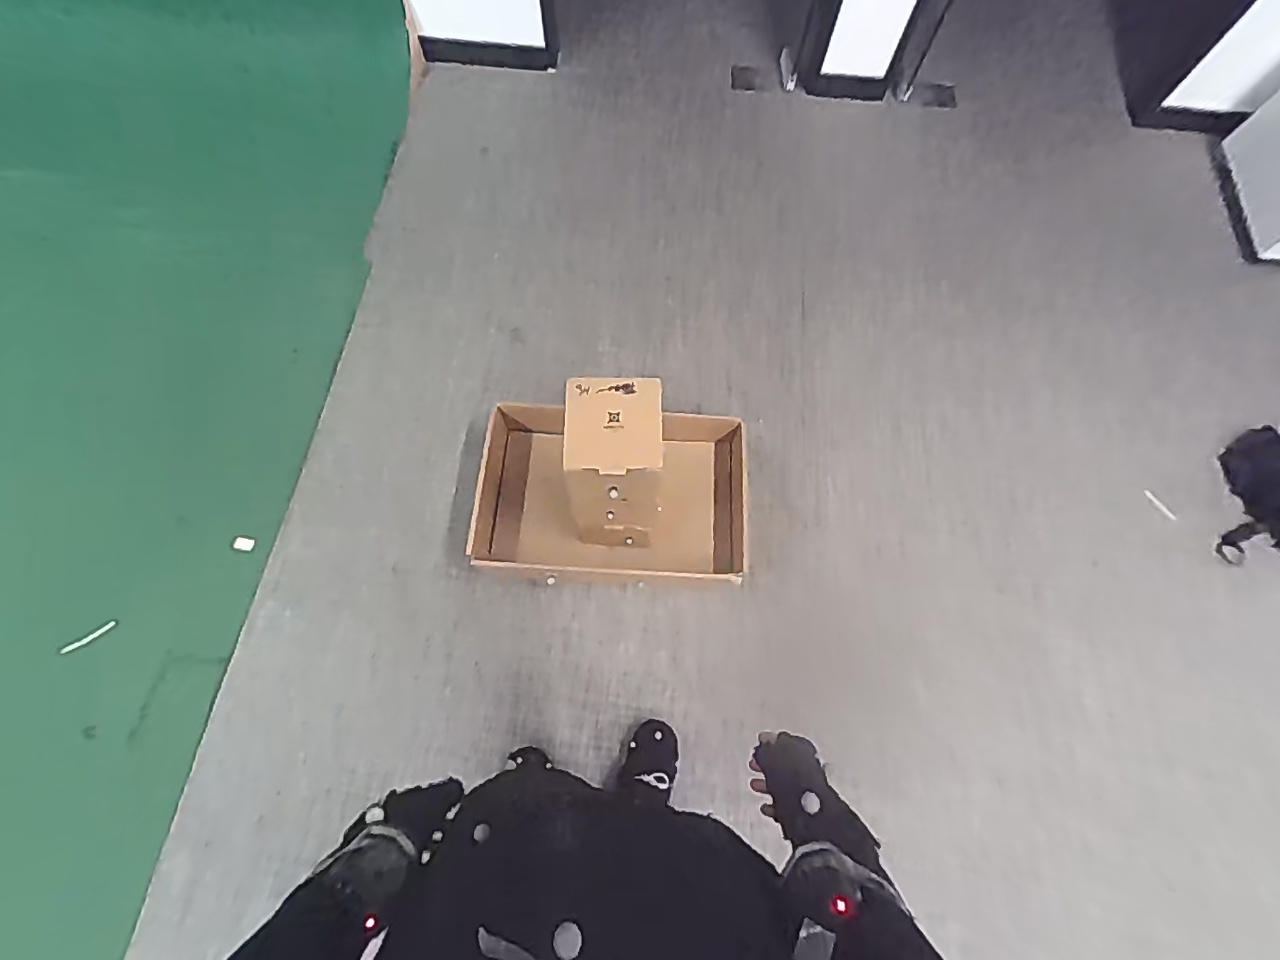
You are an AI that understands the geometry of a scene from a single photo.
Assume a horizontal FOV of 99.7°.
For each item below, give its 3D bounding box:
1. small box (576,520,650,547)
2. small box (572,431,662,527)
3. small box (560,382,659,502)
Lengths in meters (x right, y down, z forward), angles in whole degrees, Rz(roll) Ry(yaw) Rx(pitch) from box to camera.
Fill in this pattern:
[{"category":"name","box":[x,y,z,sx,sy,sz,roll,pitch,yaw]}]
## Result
[{"category":"small box","box":[-0.055,0.054,1.294,0.168,0.176,0.179,5,68,0]},{"category":"small box","box":[-0.049,-0.001,1.141,0.179,0.176,0.168,0,70,-3]},{"category":"small box","box":[-0.049,-0.062,0.989,0.168,0.176,0.179,1,70,-1]}]
